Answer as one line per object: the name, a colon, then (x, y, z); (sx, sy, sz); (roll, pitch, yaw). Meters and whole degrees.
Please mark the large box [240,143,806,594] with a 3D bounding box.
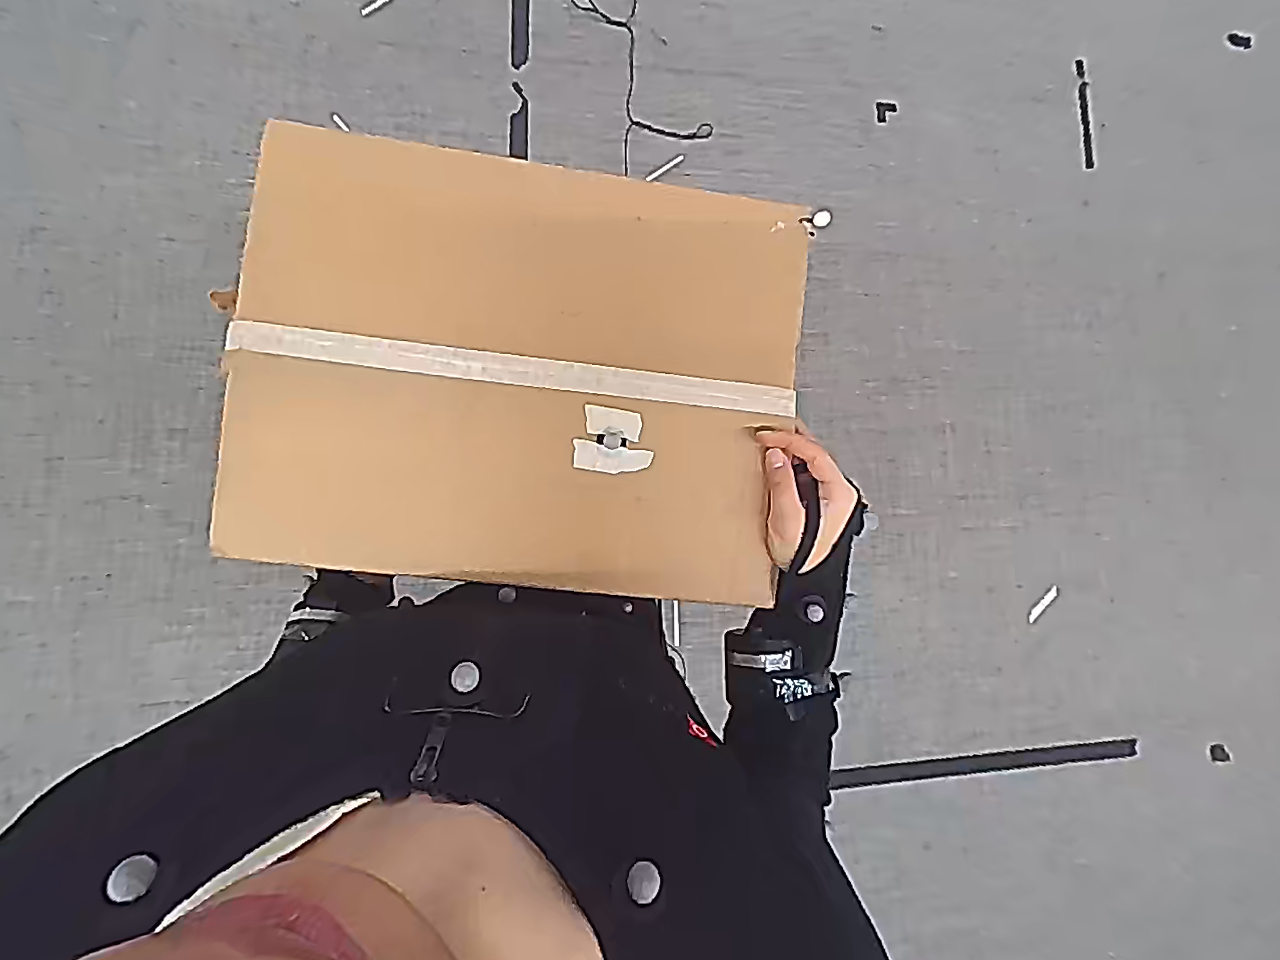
large box: (-0.093, -0.074, 0.555); (0.408, 0.320, 0.320); (6, 89, -6)
